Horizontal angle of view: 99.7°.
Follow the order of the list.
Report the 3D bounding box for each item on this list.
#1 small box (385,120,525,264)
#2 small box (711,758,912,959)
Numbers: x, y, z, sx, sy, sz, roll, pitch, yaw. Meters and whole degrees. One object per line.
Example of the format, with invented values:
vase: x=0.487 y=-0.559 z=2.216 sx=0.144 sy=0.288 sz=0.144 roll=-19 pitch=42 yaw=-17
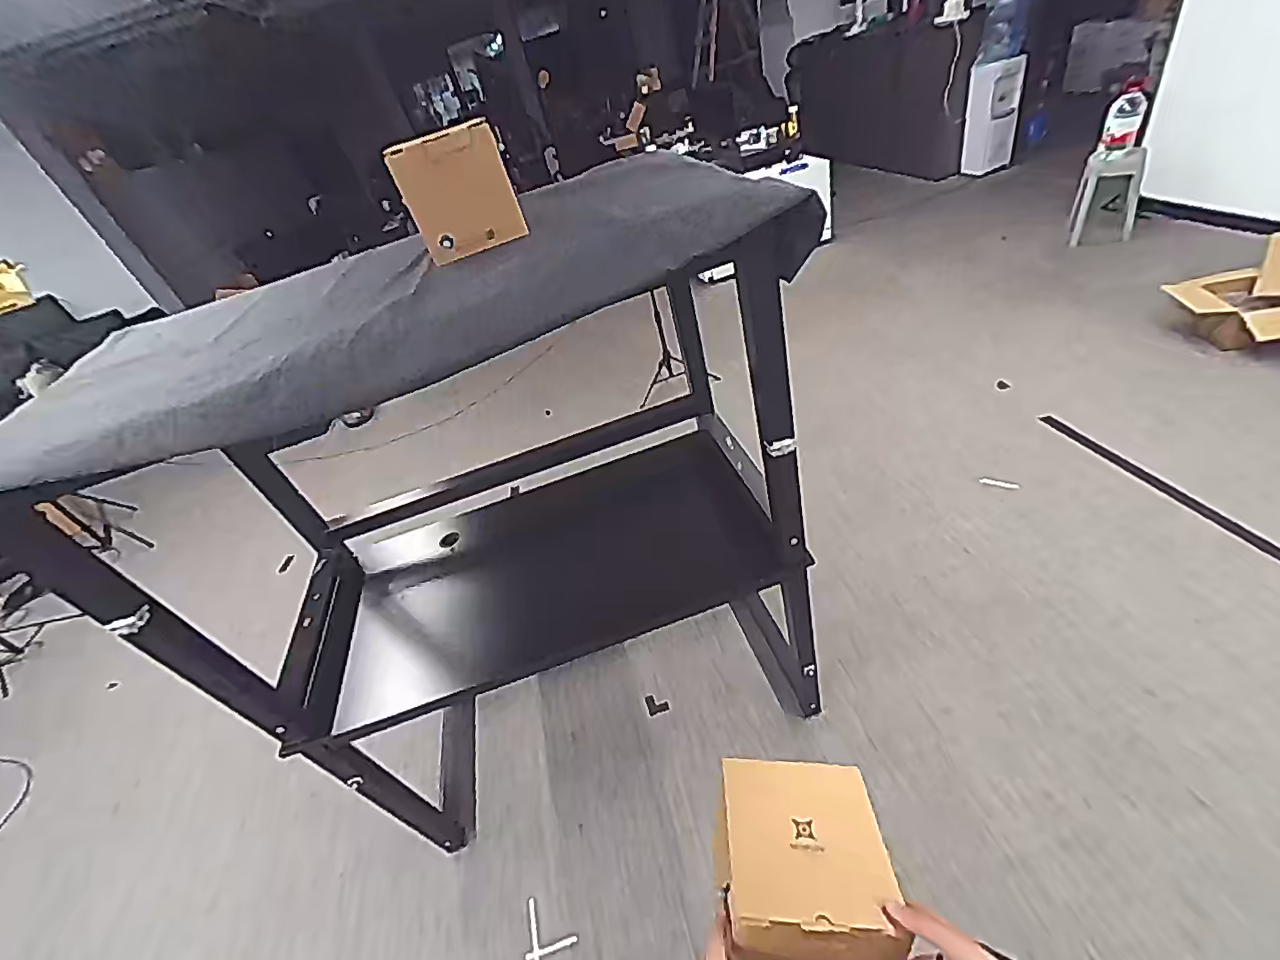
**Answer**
small box: x=-0.307 y=-0.489 z=0.924 sx=0.168 sy=0.176 sz=0.179 roll=-21 pitch=38 yaw=-4
small box: x=0.171 y=0.449 z=0.604 sx=0.168 sy=0.176 sz=0.179 roll=2 pitch=24 yaw=2
